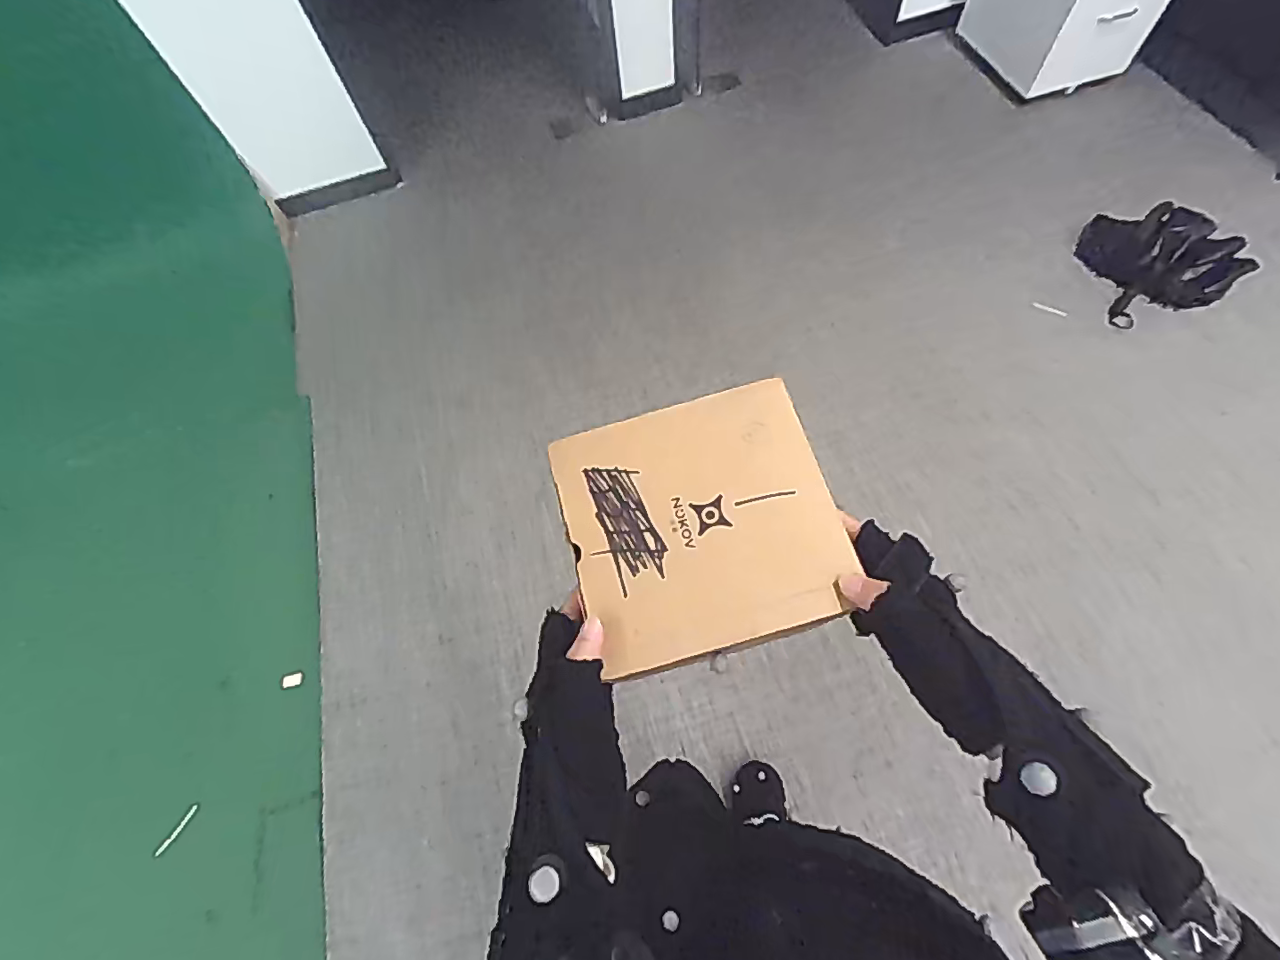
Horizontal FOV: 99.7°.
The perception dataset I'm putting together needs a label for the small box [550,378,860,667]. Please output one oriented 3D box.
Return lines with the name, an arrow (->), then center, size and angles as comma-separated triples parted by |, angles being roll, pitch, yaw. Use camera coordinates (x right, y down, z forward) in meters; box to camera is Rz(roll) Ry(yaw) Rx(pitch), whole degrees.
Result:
small box -> 0.044, 0.049, 0.440 | 0.179, 0.176, 0.168 | -16, 70, -1
